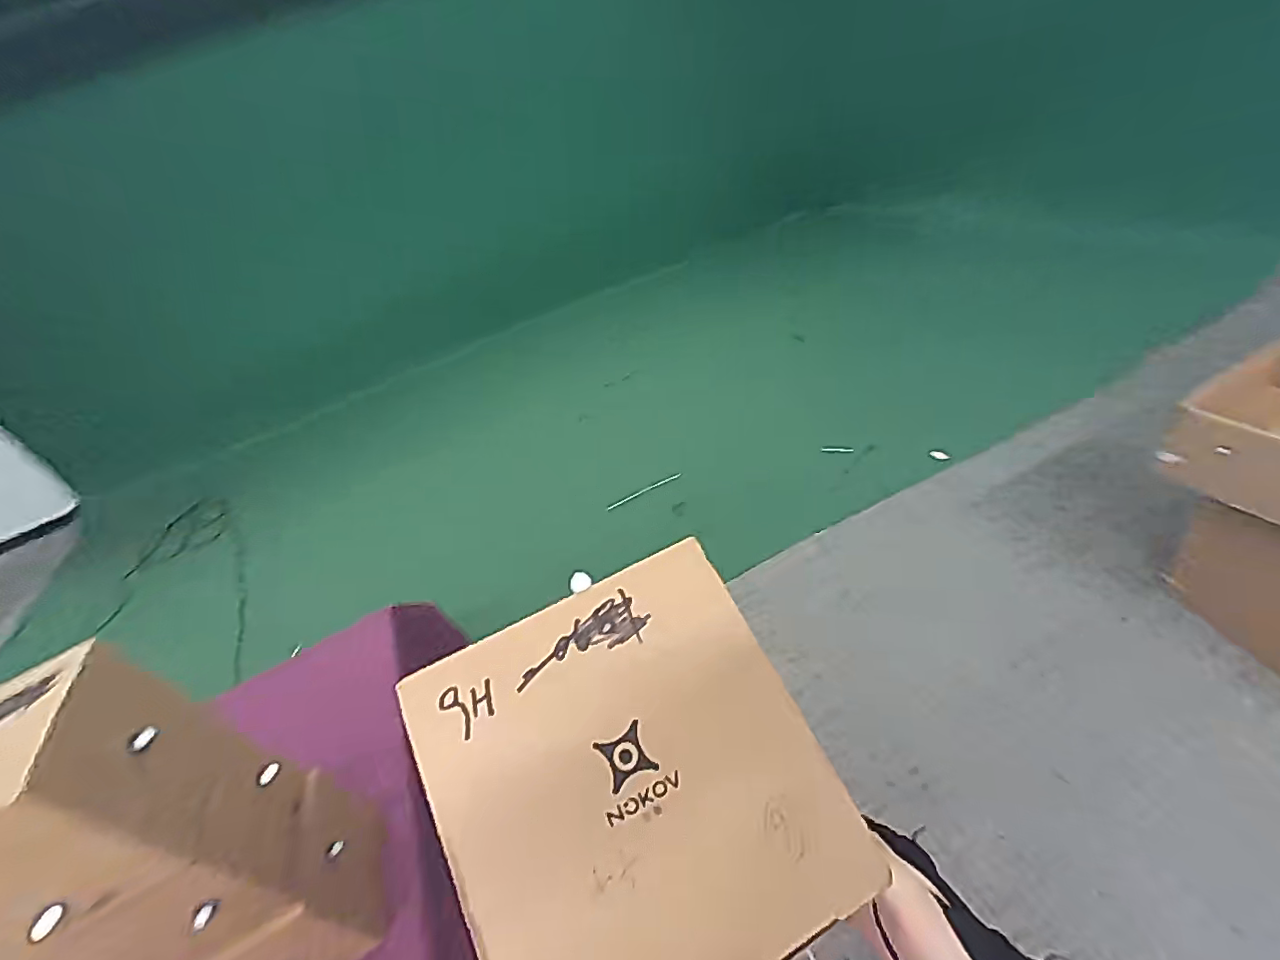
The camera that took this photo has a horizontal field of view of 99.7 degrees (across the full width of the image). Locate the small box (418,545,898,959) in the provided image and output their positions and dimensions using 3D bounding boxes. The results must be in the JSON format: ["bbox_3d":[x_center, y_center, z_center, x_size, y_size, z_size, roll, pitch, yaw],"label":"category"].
[{"bbox_3d":[0.000,0.167,0.317,0.168,0.176,0.179,-24,69,-13],"label":"small box"}]

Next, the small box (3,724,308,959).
[{"bbox_3d":[-0.508,0.421,0.606,0.179,0.176,0.168,-29,39,-10],"label":"small box"}]

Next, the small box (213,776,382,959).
[{"bbox_3d":[-0.459,0.538,0.708,0.168,0.176,0.179,-26,39,-9],"label":"small box"}]
